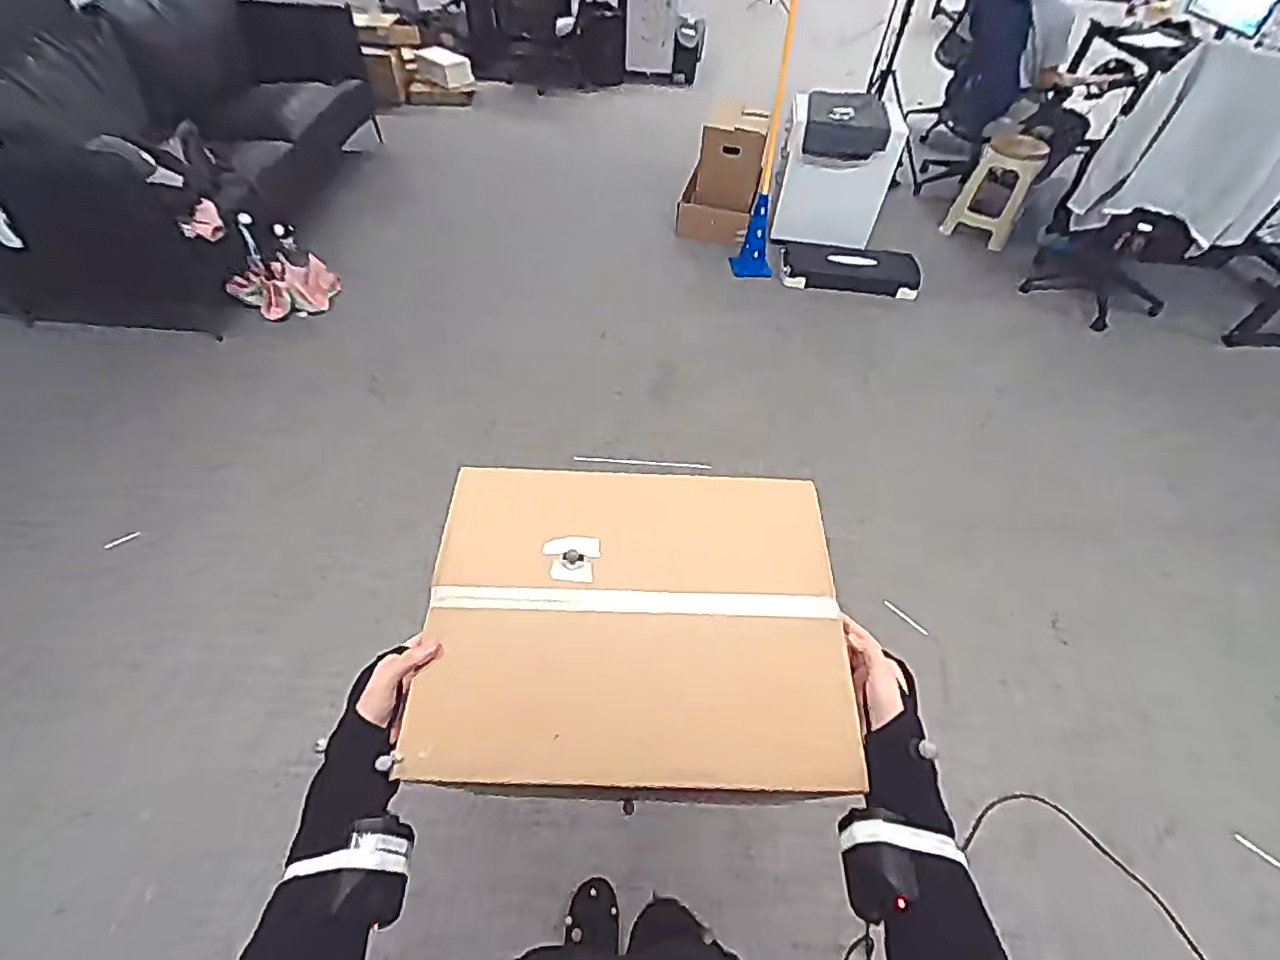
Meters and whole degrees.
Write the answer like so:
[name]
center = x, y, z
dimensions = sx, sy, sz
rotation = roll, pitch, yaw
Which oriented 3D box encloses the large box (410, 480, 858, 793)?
[large box]
center = -0.004, 0.211, 0.678
dimensions = 0.408, 0.320, 0.320
rotation = 2, 56, 0
